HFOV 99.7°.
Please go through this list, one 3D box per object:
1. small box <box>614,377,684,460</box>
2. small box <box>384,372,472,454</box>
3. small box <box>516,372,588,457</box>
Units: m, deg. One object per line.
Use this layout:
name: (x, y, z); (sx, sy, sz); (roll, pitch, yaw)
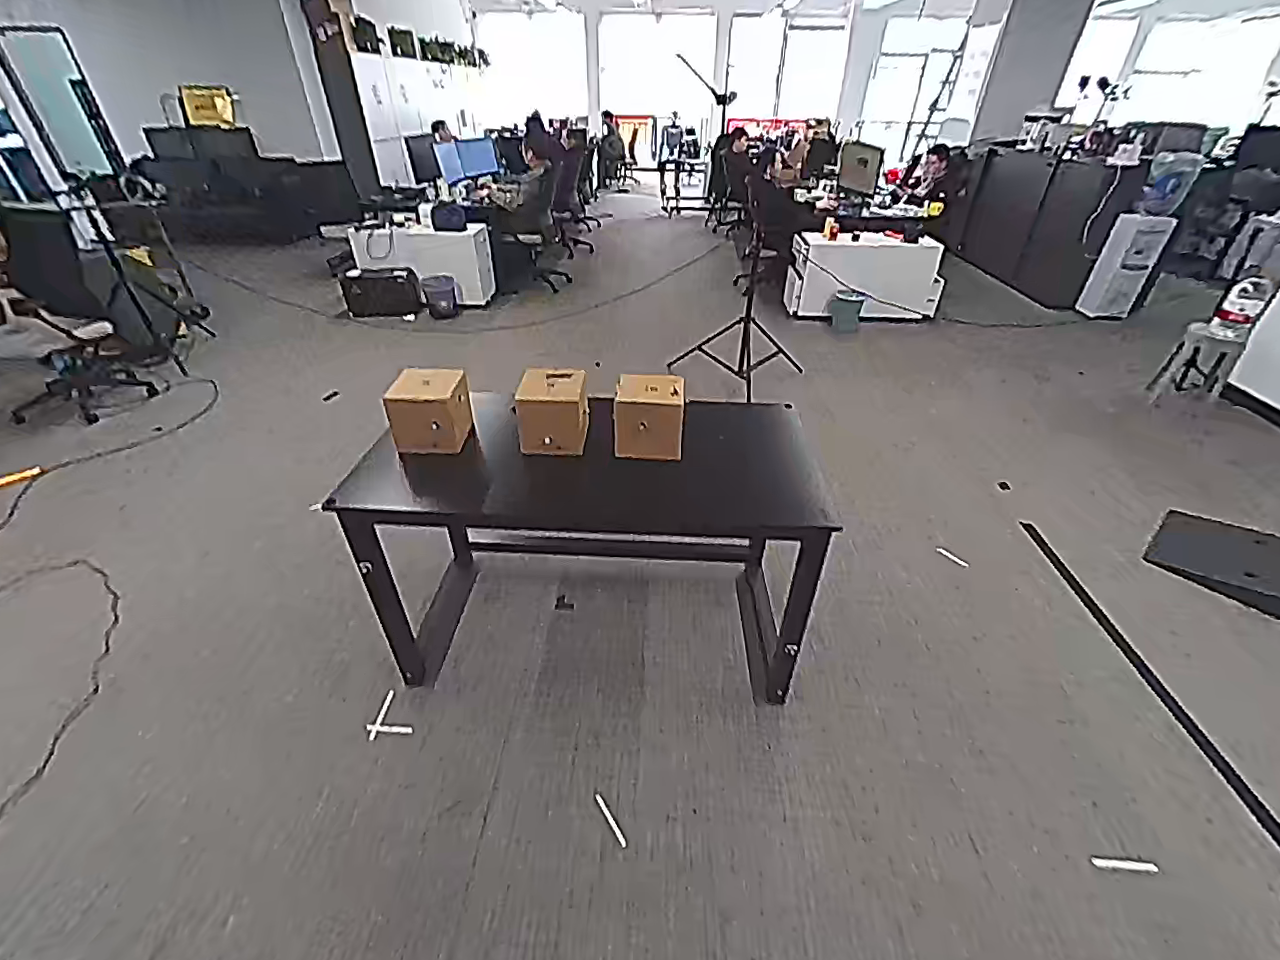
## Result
small box: (0.029, -0.165, 1.455); (0.179, 0.176, 0.168); (2, 35, 3)
small box: (-0.564, -0.182, 1.465); (0.168, 0.176, 0.179); (1, 35, -2)
small box: (-0.231, -0.180, 1.469); (0.168, 0.176, 0.179); (1, 36, 1)
